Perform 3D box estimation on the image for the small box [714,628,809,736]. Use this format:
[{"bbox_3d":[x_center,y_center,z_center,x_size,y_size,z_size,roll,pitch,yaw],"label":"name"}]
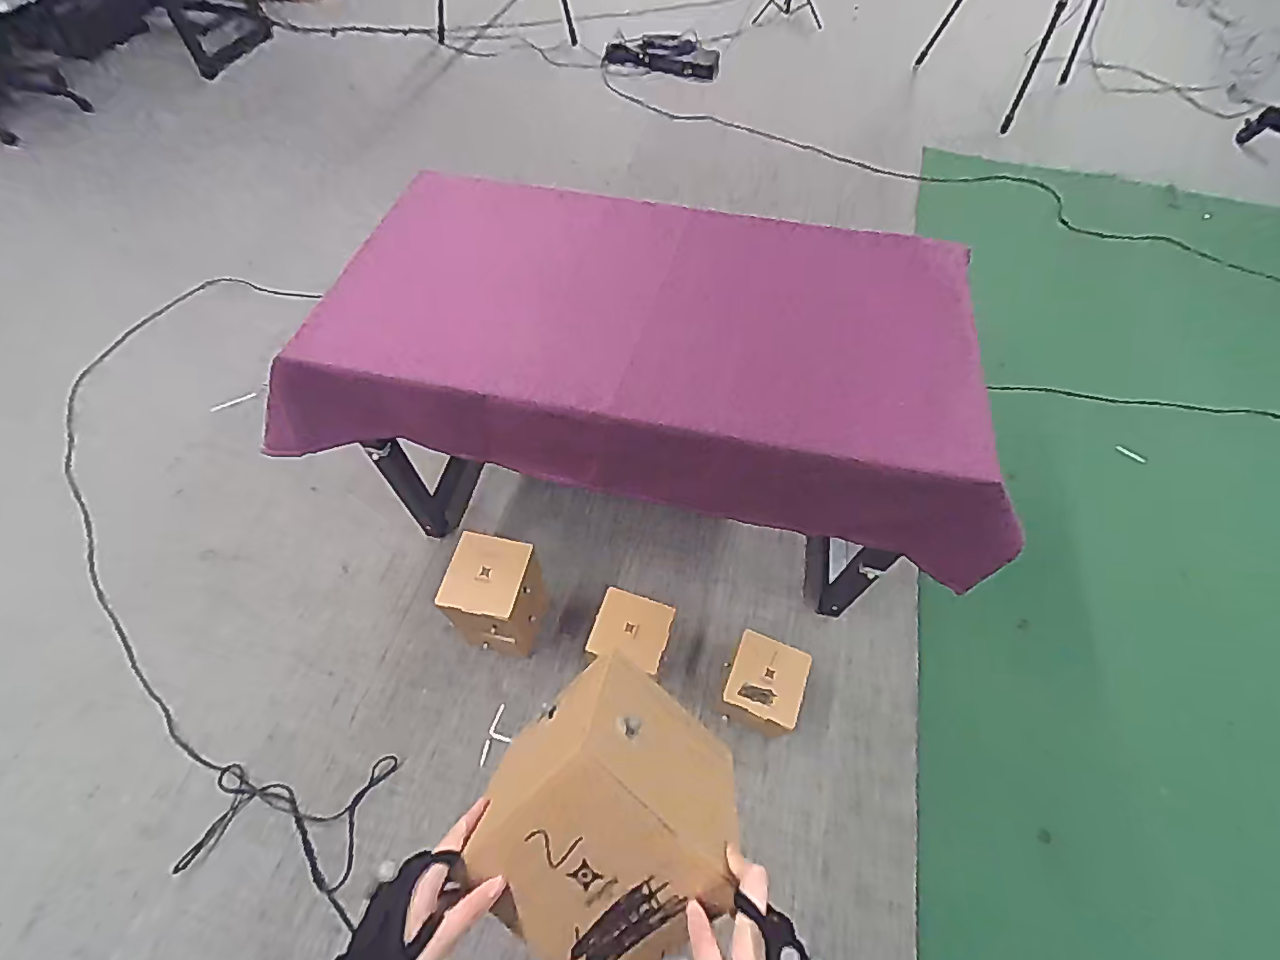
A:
[{"bbox_3d":[0.283,0.488,1.291,0.168,0.176,0.179,21,60,11],"label":"small box"}]
